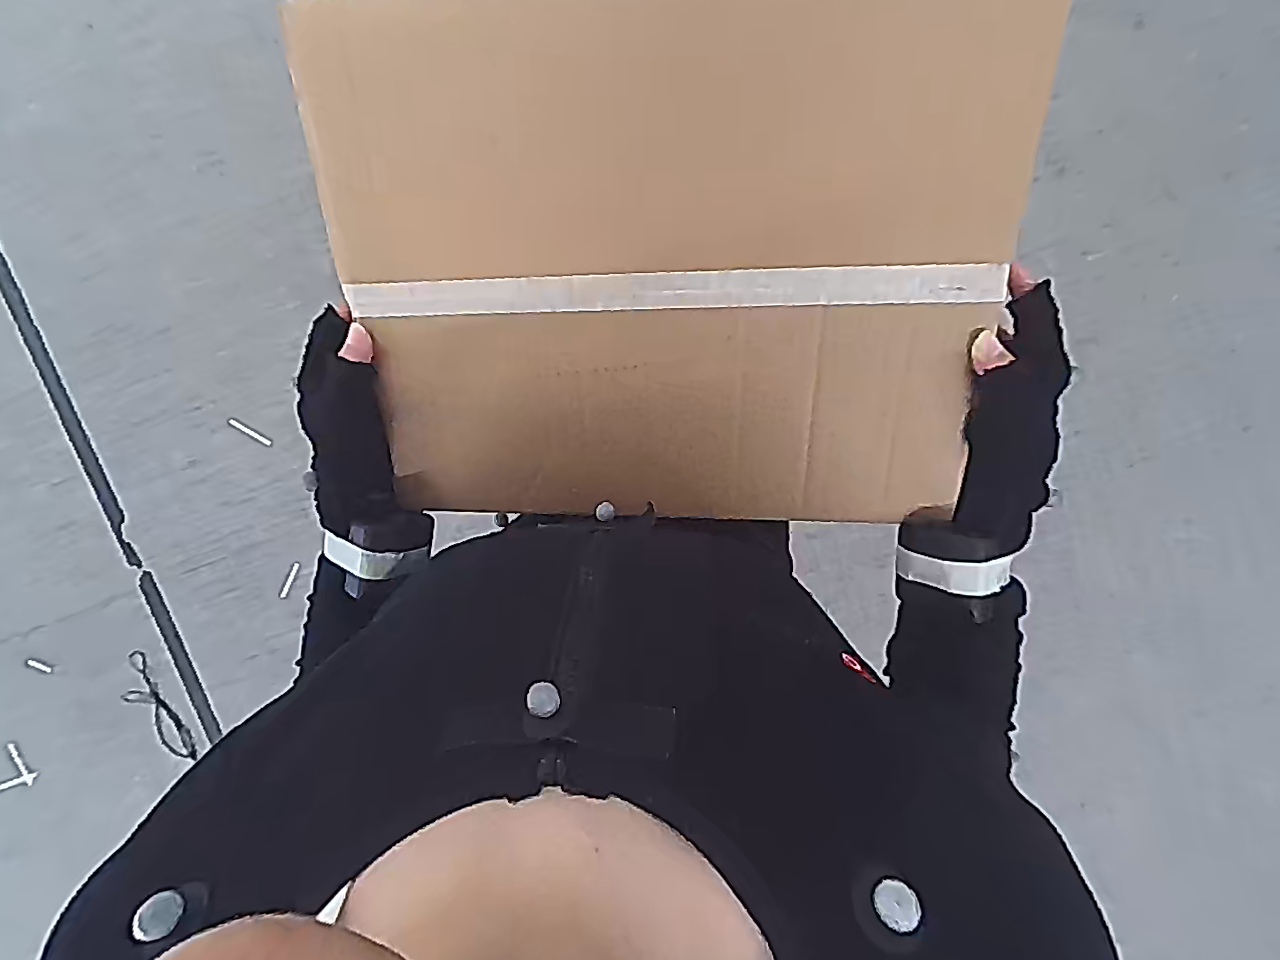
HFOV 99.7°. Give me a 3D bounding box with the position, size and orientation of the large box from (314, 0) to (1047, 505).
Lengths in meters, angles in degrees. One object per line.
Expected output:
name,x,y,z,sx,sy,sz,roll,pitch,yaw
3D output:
large box,0.027,-0.183,0.483,0.408,0.320,0.320,1,116,6
